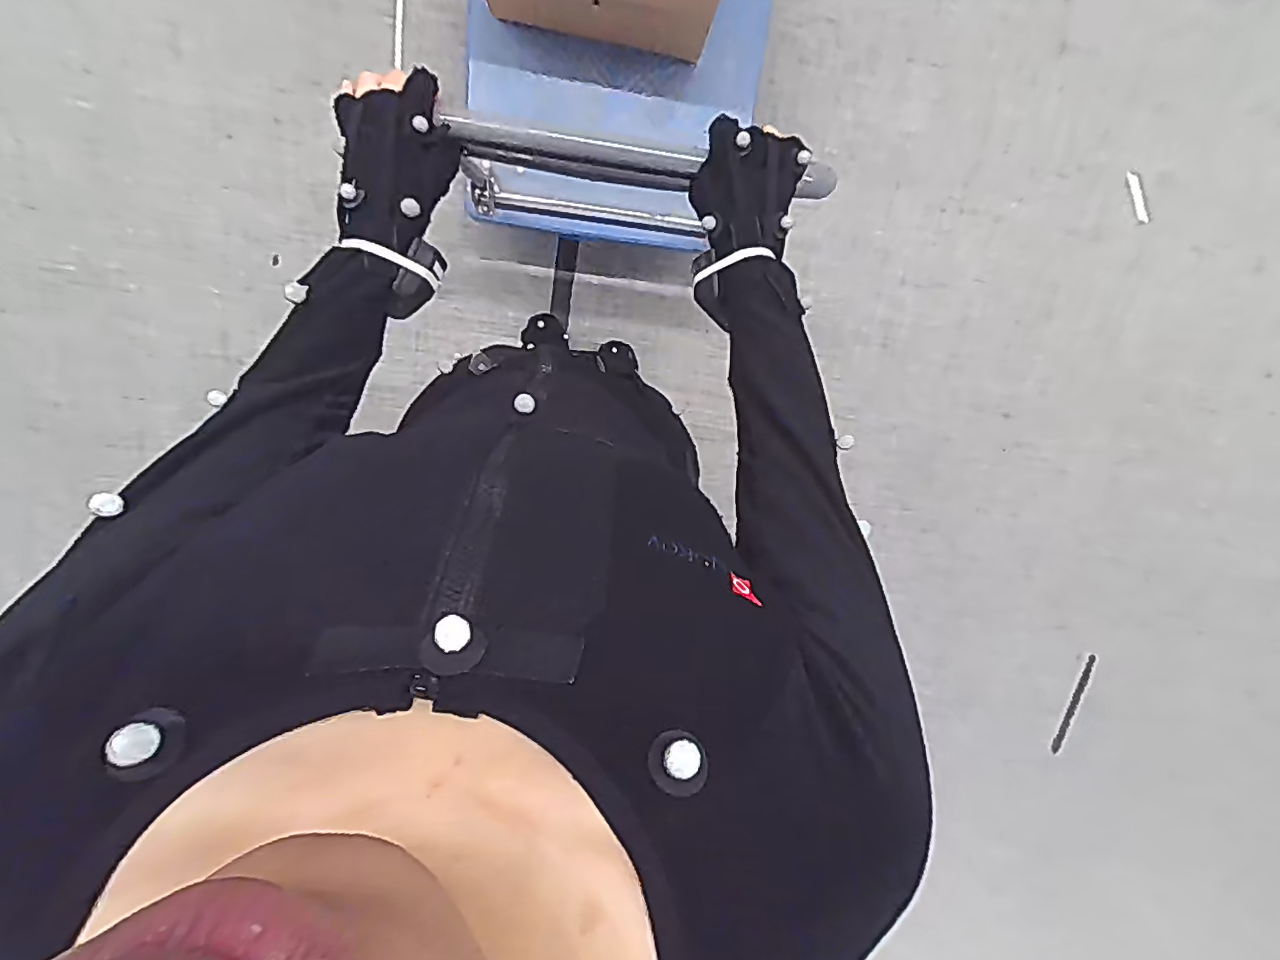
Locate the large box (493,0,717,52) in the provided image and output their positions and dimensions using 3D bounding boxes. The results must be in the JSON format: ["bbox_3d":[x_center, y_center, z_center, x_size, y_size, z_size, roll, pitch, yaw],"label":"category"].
[{"bbox_3d":[-0.051,-0.967,0.875,0.408,0.320,0.320,8,107,-5],"label":"large box"}]
